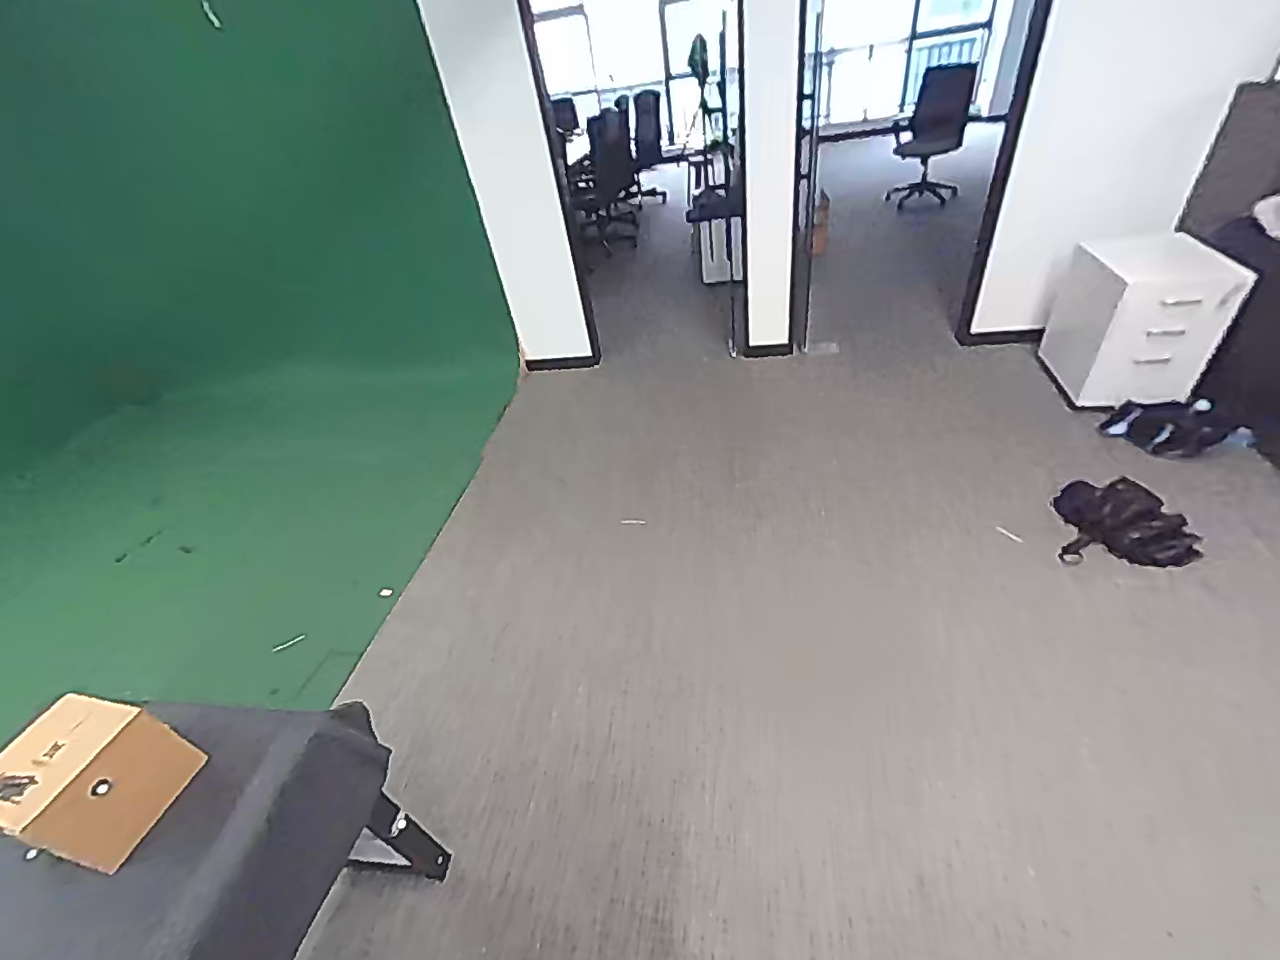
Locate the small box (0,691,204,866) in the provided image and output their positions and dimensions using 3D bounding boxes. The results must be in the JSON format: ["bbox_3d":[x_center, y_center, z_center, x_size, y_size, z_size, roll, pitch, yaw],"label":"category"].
[{"bbox_3d":[-0.846,0.461,0.838,0.168,0.176,0.179,3,40,16],"label":"small box"}]
